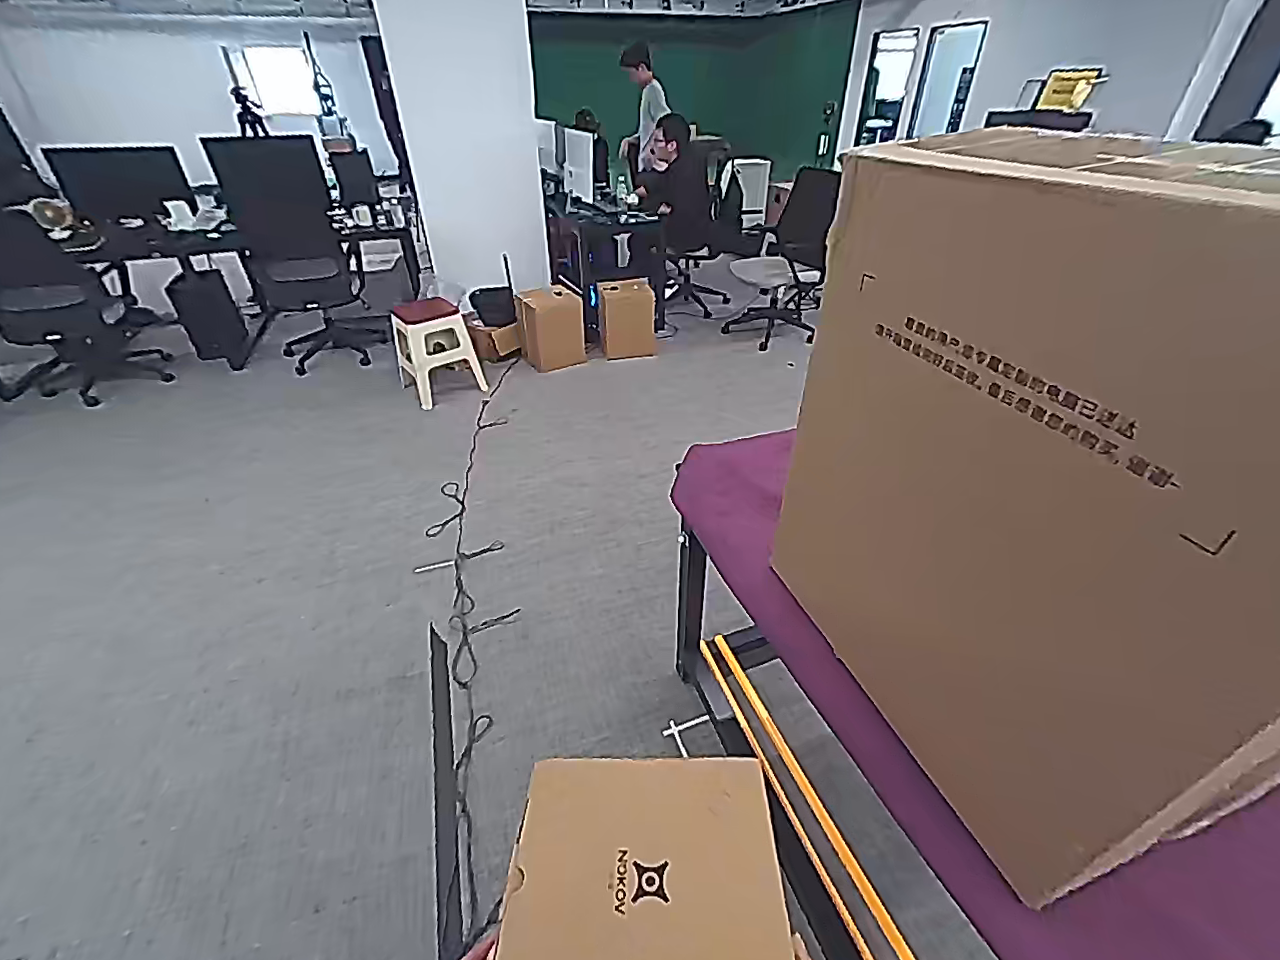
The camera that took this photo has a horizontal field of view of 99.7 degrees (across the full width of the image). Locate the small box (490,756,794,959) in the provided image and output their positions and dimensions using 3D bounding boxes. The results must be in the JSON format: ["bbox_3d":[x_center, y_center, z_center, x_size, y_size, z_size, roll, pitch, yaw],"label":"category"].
[{"bbox_3d":[0.006,0.322,0.381,0.179,0.176,0.168,-3,29,4],"label":"small box"}]
